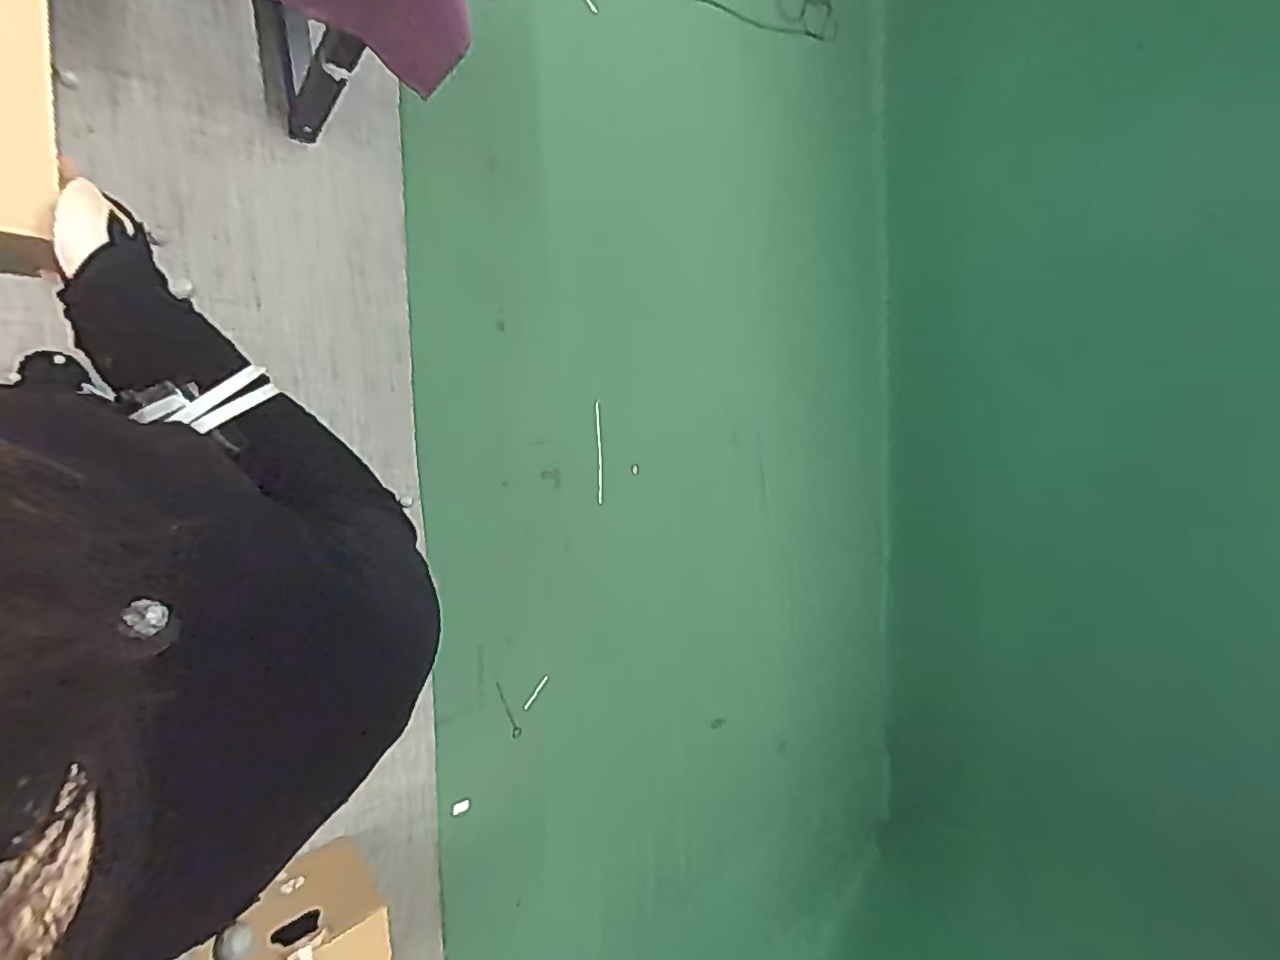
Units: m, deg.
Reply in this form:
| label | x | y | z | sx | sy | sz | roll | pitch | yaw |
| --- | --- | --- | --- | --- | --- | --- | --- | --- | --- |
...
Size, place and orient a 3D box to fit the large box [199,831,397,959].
| label | x | y | z | sx | sy | sz | roll | pitch | yaw |
| --- | --- | --- | --- | --- | --- | --- | --- | --- | --- |
| large box | -0.758 | 1.124 | 1.218 | 0.320 | 0.320 | 0.408 | -7 | 97 | -43 |

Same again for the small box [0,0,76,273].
| label | x | y | z | sx | sy | sz | roll | pitch | yaw |
| --- | --- | --- | --- | --- | --- | --- | --- | --- | --- |
| small box | -0.472 | -0.245 | 0.332 | 0.168 | 0.176 | 0.179 | -4 | 99 | -46 |
